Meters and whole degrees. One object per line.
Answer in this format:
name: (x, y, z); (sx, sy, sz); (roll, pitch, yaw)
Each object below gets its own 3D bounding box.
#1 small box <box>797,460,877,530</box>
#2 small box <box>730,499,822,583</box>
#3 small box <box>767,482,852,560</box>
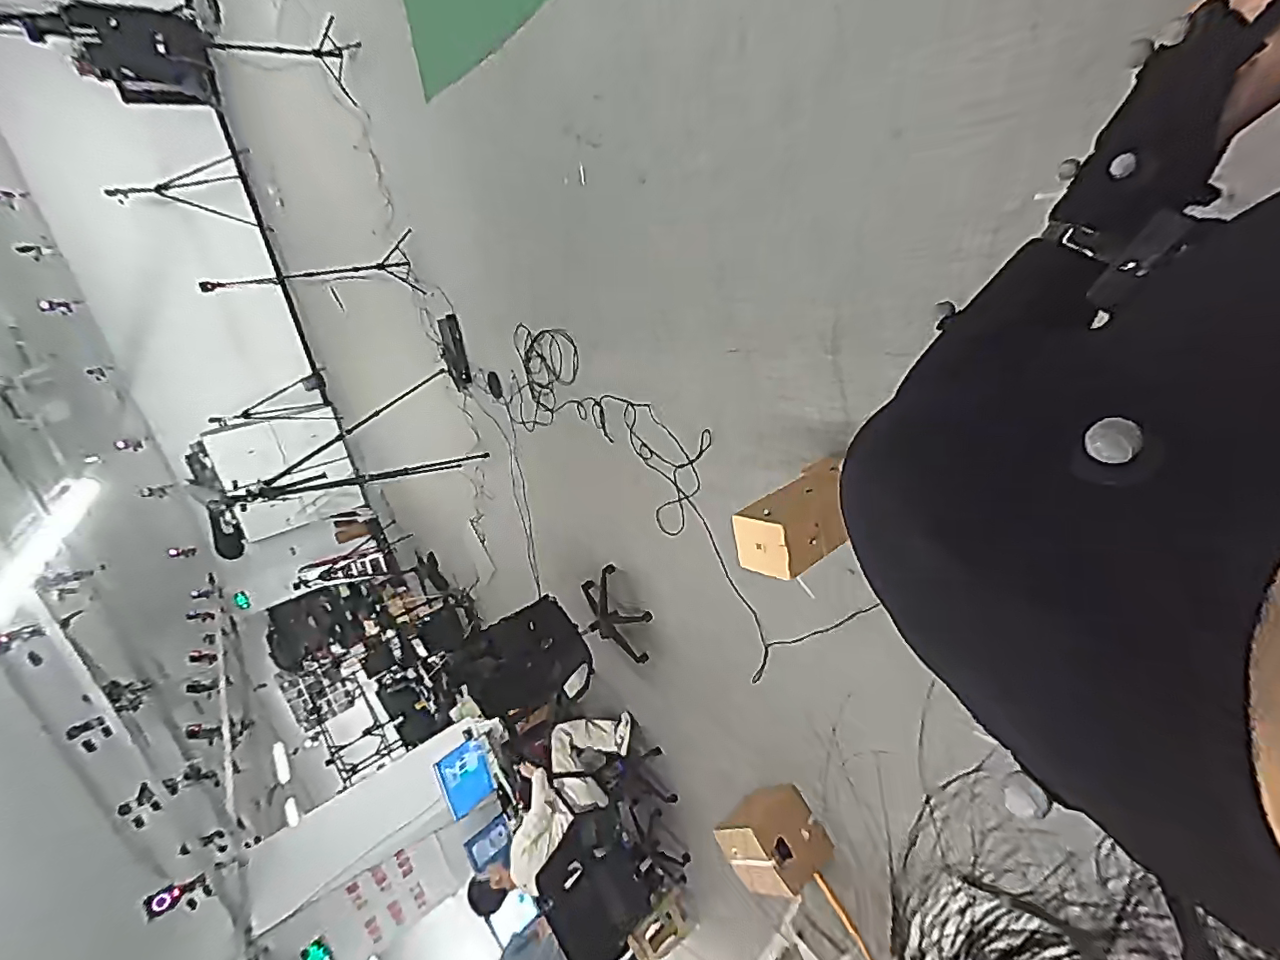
small box: (0.622, 0.041, 1.689); (0.179, 0.176, 0.168); (6, 114, 53)
small box: (0.381, 0.161, 1.505); (0.179, 0.176, 0.168); (9, 117, 51)
small box: (0.503, 0.112, 1.601); (0.179, 0.176, 0.168); (11, 118, 50)
